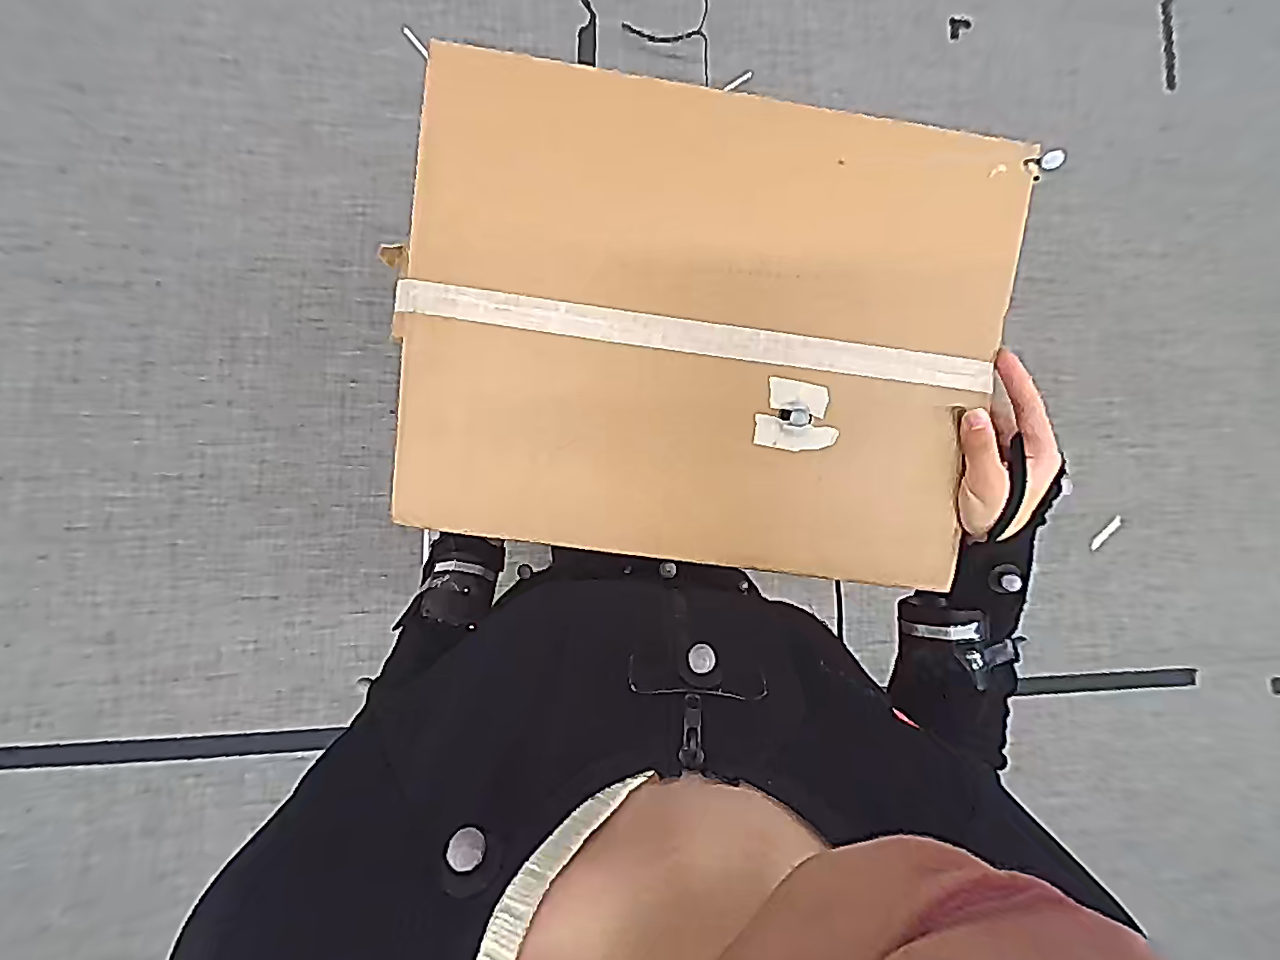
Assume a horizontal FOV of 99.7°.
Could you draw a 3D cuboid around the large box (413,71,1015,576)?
[{"bbox_3d":[0.040,-0.113,0.526,0.408,0.320,0.320,7,97,-4],"label":"large box"}]
